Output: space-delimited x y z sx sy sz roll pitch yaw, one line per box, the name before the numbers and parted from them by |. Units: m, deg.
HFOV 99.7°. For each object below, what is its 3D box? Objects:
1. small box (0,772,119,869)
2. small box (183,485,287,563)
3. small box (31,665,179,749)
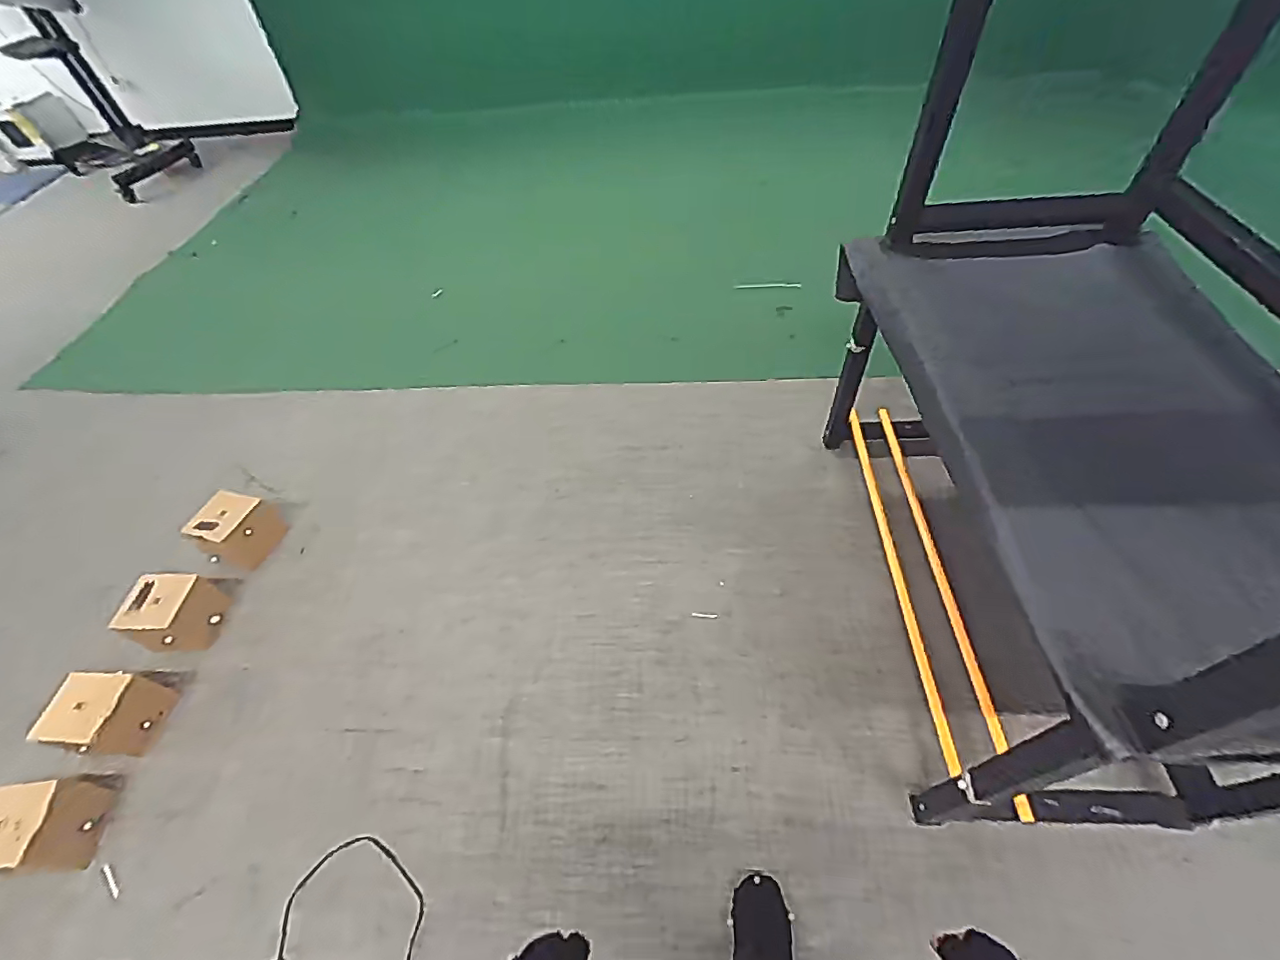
small box | -1.395 0.793 1.255 0.179 0.176 0.168 -6 53 0
small box | -1.303 0.146 1.755 0.168 0.176 0.179 12 52 13
small box | -1.381 0.595 1.412 0.179 0.176 0.168 0 52 4
